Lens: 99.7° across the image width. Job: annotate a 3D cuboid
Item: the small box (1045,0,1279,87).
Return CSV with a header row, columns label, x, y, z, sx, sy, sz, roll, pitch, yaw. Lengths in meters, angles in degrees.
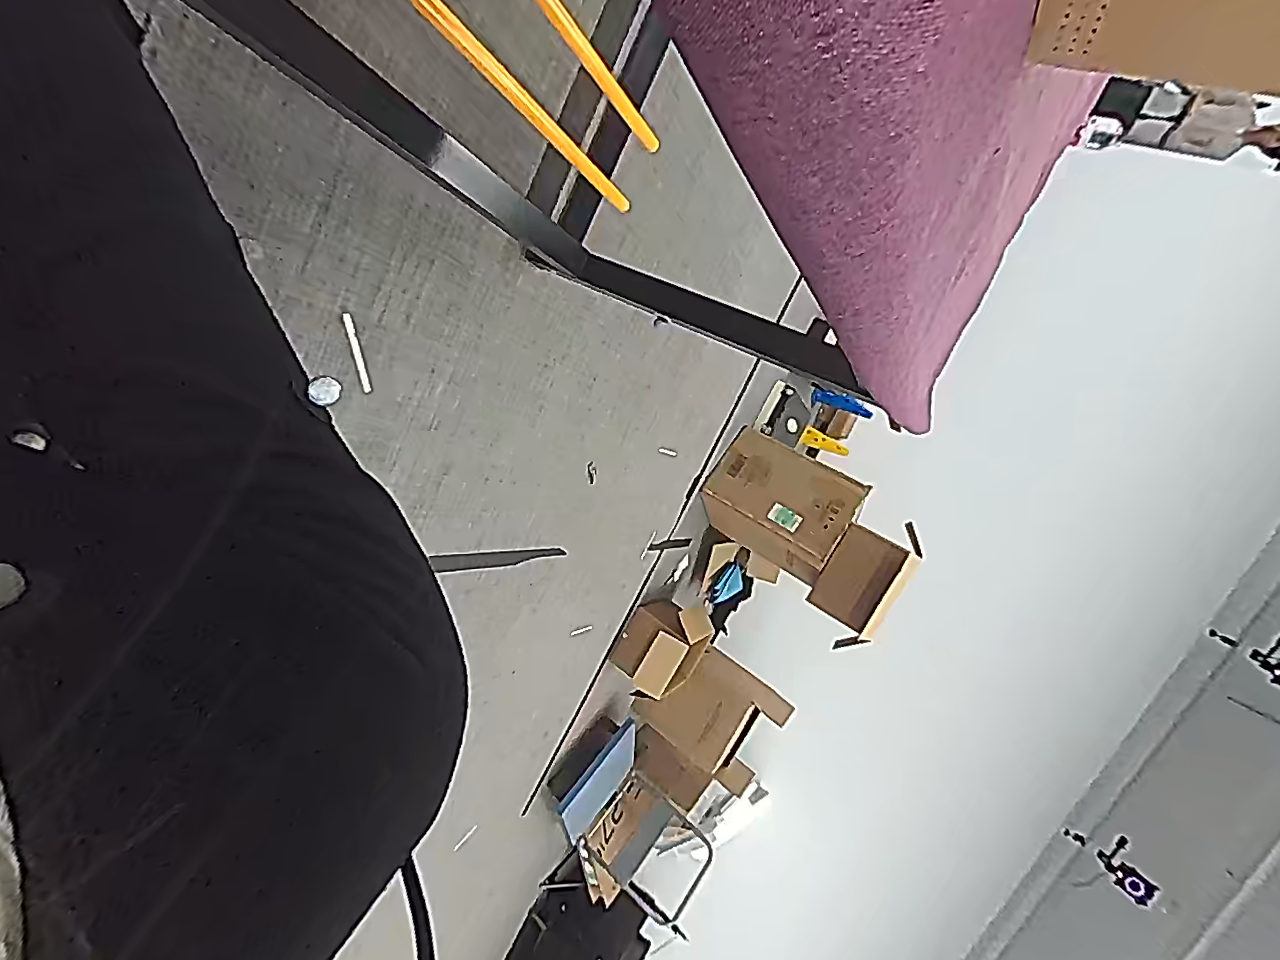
label,x,y,z,sx,sy,sz,roll,pitch,yaw
small box,0.267,-0.260,0.164,0.168,0.176,0.179,-64,156,8
